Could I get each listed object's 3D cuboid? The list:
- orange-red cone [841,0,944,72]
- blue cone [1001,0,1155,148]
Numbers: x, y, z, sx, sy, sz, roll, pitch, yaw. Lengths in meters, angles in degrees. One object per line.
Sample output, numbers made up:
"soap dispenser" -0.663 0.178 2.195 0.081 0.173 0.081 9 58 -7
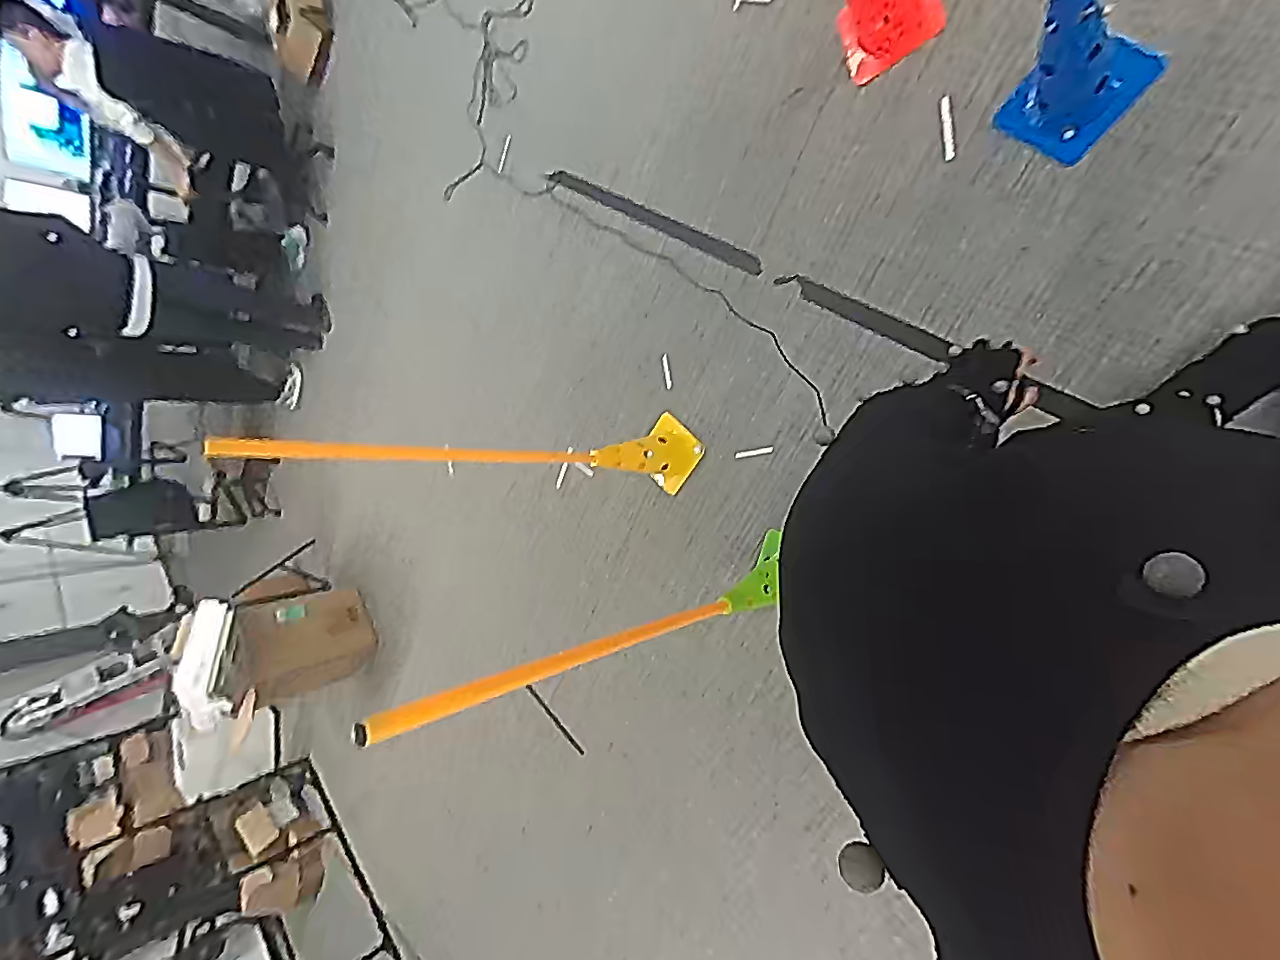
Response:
"orange-red cone" 0.454 -1.051 1.093 0.198 0.360 0.199 -15 85 41
"blue cone" 0.724 -0.749 0.912 0.193 0.380 0.192 -51 62 31
